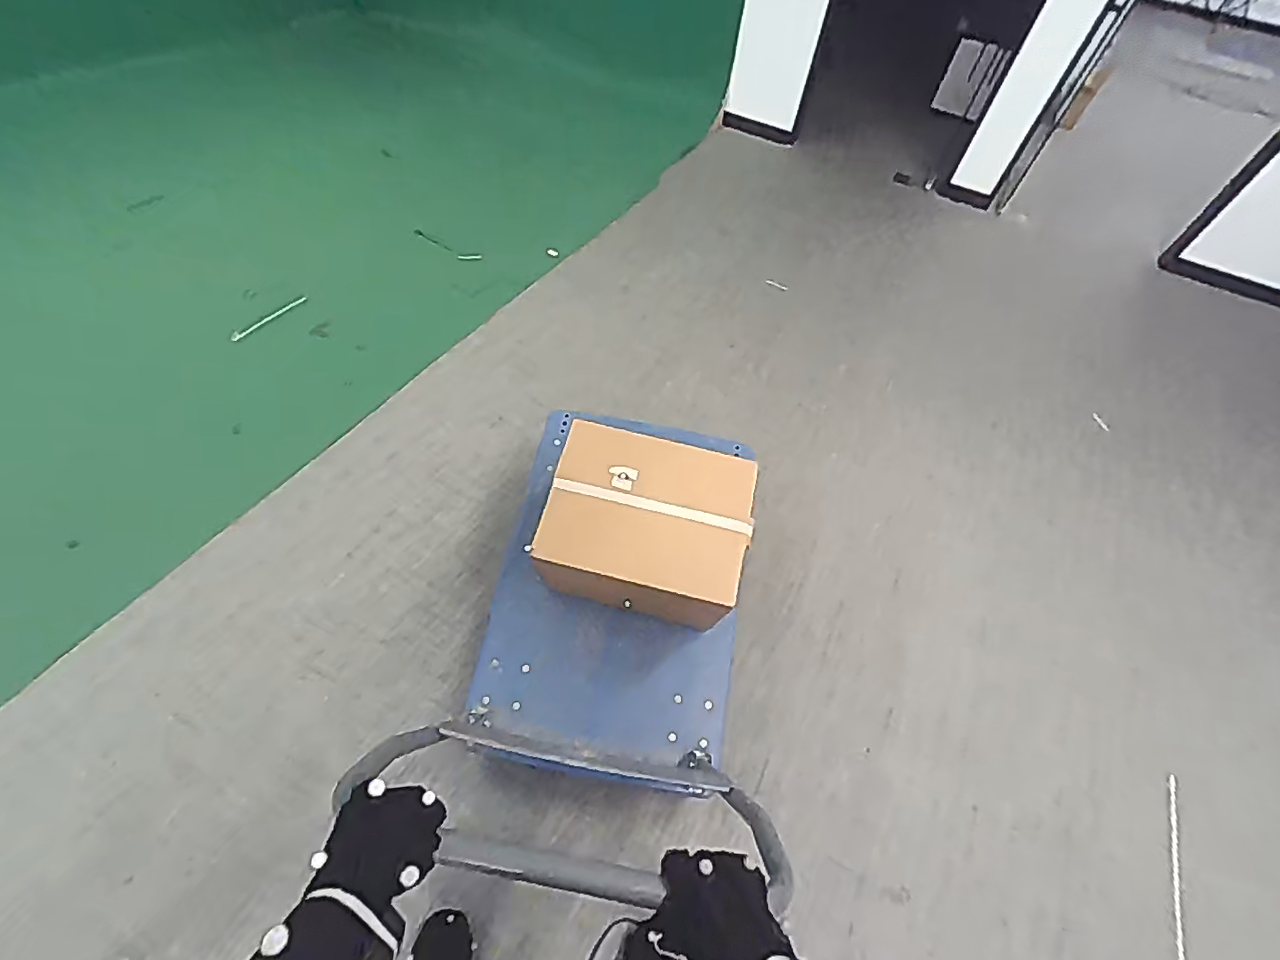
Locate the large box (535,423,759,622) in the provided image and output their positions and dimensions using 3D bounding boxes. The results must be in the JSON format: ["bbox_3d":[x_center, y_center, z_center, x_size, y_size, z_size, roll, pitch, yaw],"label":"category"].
[{"bbox_3d":[0.023,0.111,1.216,0.408,0.320,0.320,13,67,4],"label":"large box"}]
